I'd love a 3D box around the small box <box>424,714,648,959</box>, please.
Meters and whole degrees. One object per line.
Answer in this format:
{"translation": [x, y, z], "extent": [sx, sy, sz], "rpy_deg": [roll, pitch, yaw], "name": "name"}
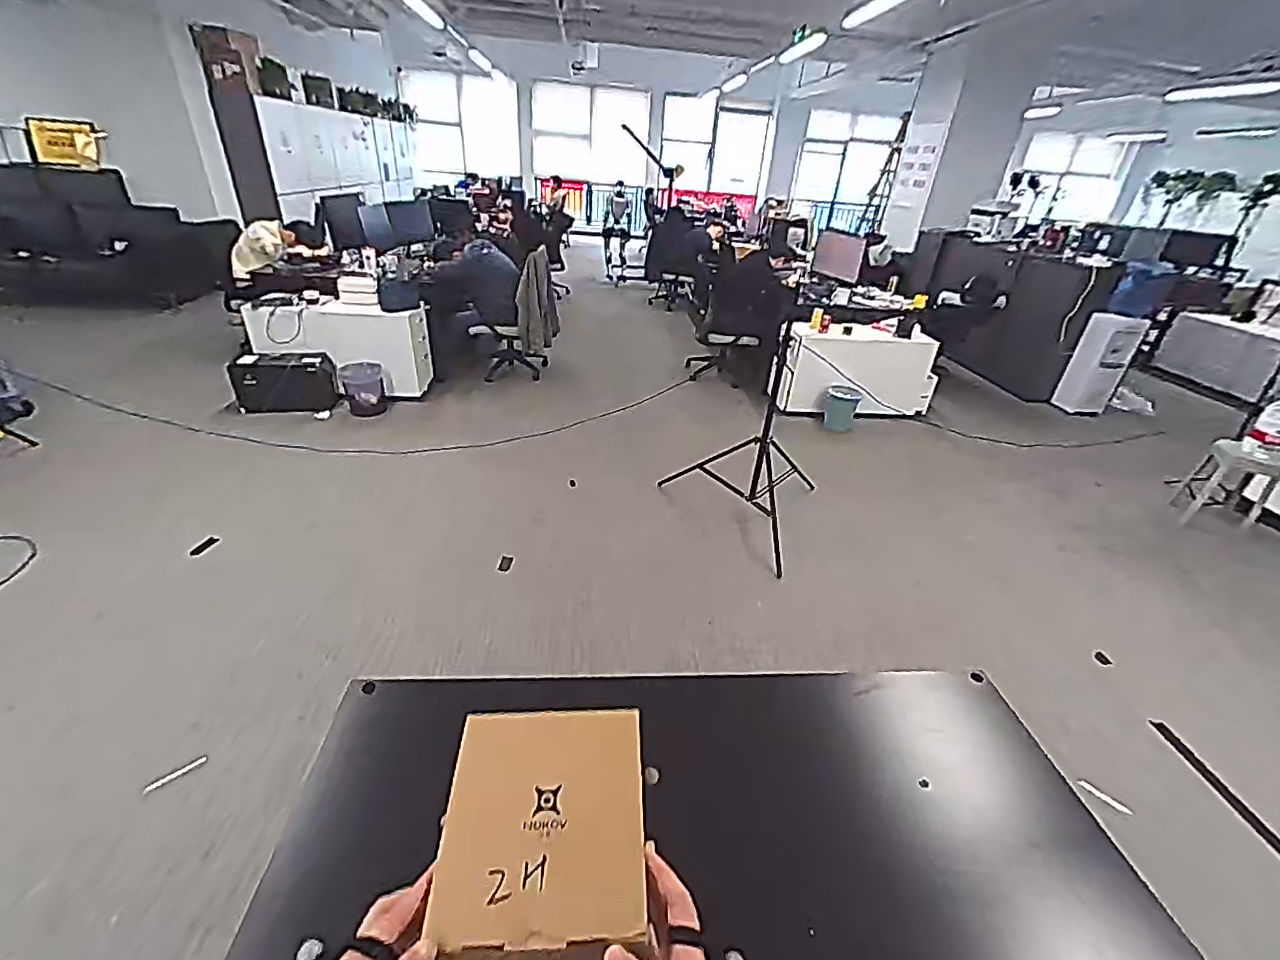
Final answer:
{"translation": [-0.081, 0.348, 0.507], "extent": [0.168, 0.176, 0.179], "rpy_deg": [-2, 37, -3], "name": "small box"}
